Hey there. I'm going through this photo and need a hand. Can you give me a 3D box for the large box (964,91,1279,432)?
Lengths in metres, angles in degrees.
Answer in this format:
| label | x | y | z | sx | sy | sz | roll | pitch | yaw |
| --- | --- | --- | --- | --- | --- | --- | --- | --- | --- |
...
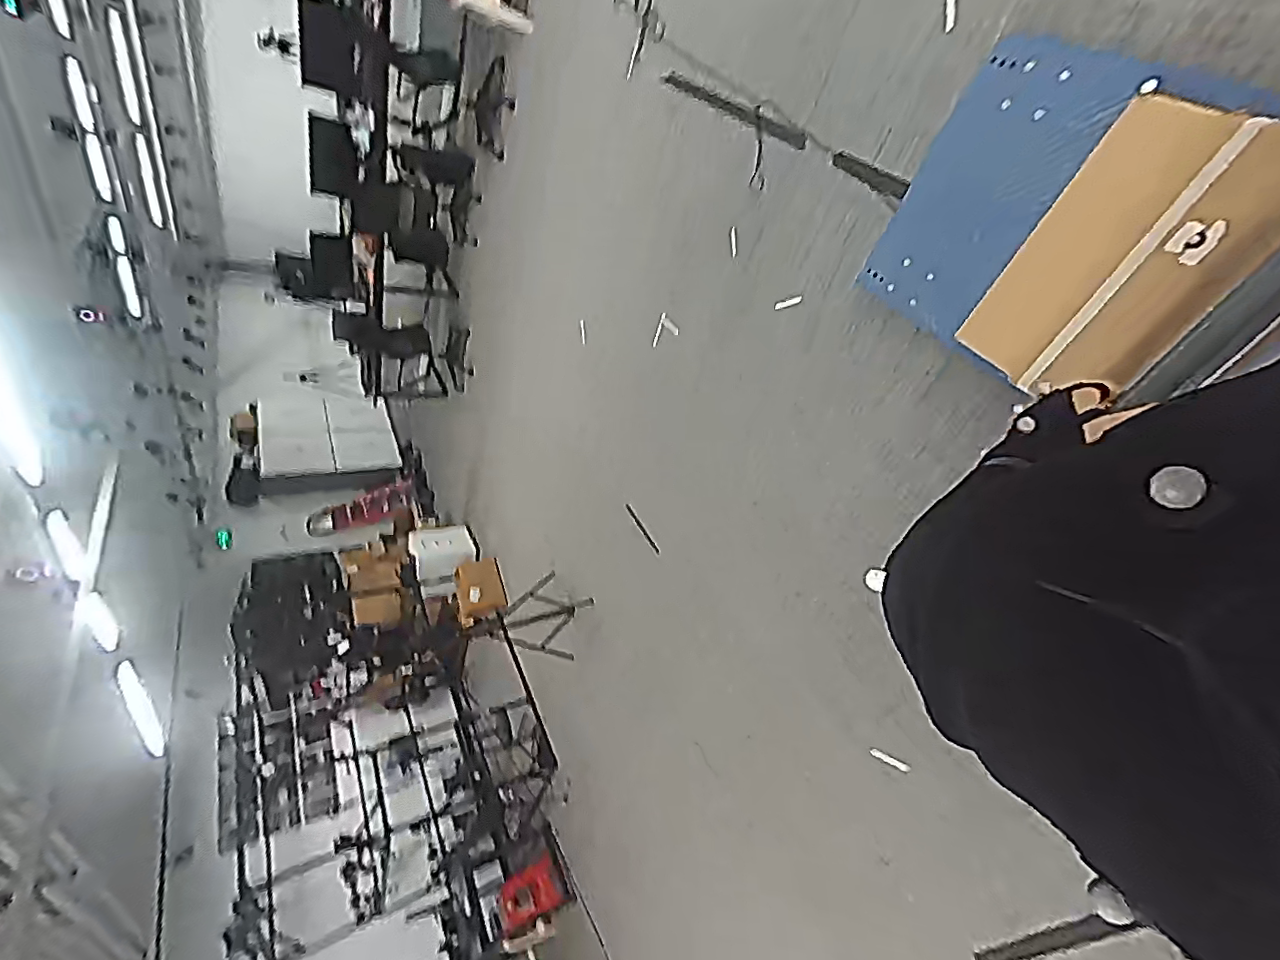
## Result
| label | x | y | z | sx | sy | sz | roll | pitch | yaw |
| --- | --- | --- | --- | --- | --- | --- | --- | --- | --- |
| large box | 0.858 | -0.327 | 0.891 | 0.320 | 0.320 | 0.408 | 56 | 137 | 35 |
